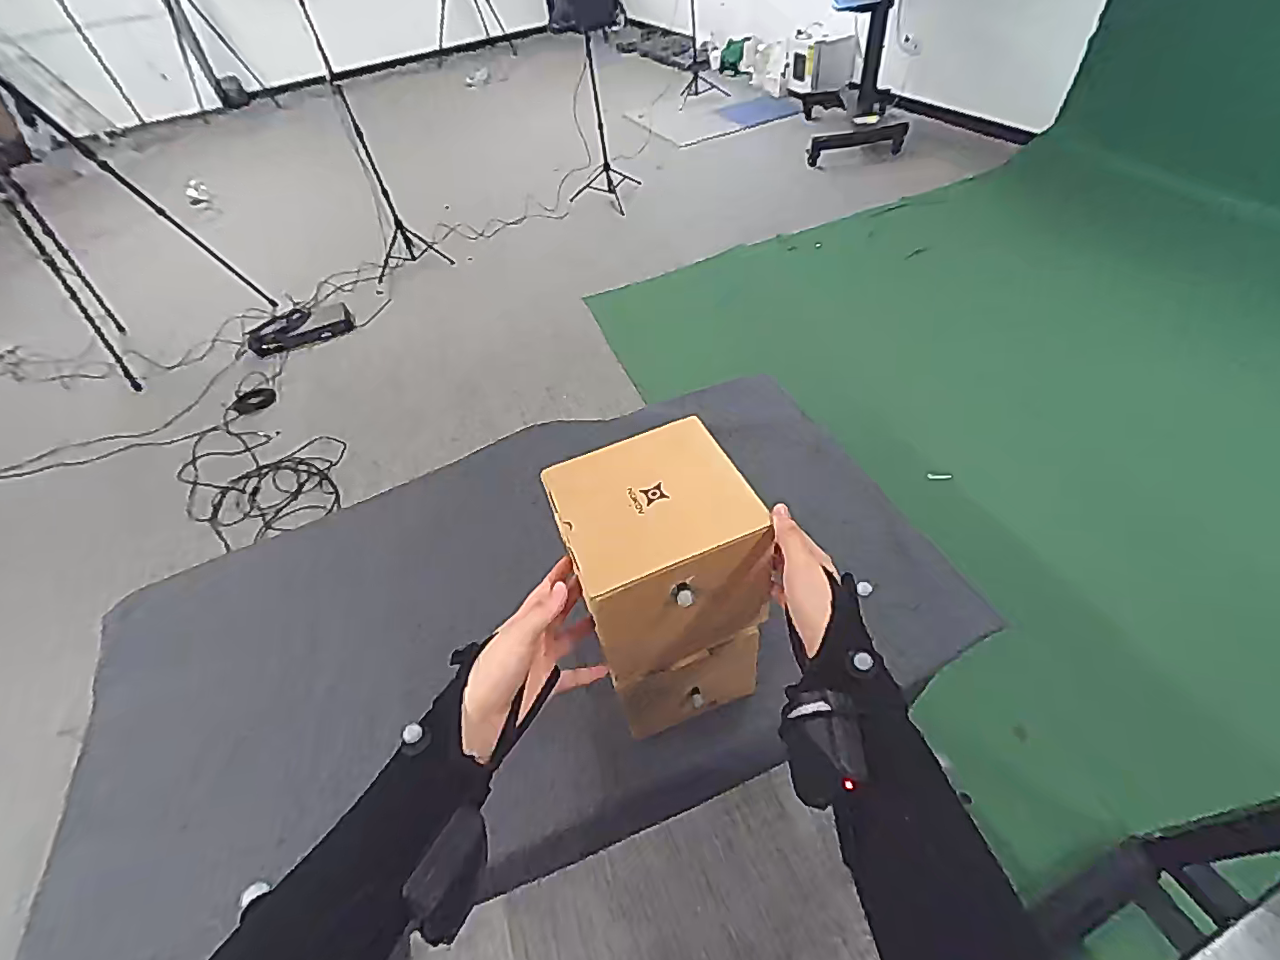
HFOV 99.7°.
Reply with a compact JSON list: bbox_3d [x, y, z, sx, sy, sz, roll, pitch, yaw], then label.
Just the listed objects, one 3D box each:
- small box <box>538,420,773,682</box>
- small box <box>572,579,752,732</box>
[{"bbox_3d":[0.016,0.074,0.556,0.179,0.176,0.168,-22,47,-9],"label":"small box"},{"bbox_3d":[0.029,0.189,0.672,0.168,0.176,0.179,-20,47,-8],"label":"small box"}]
